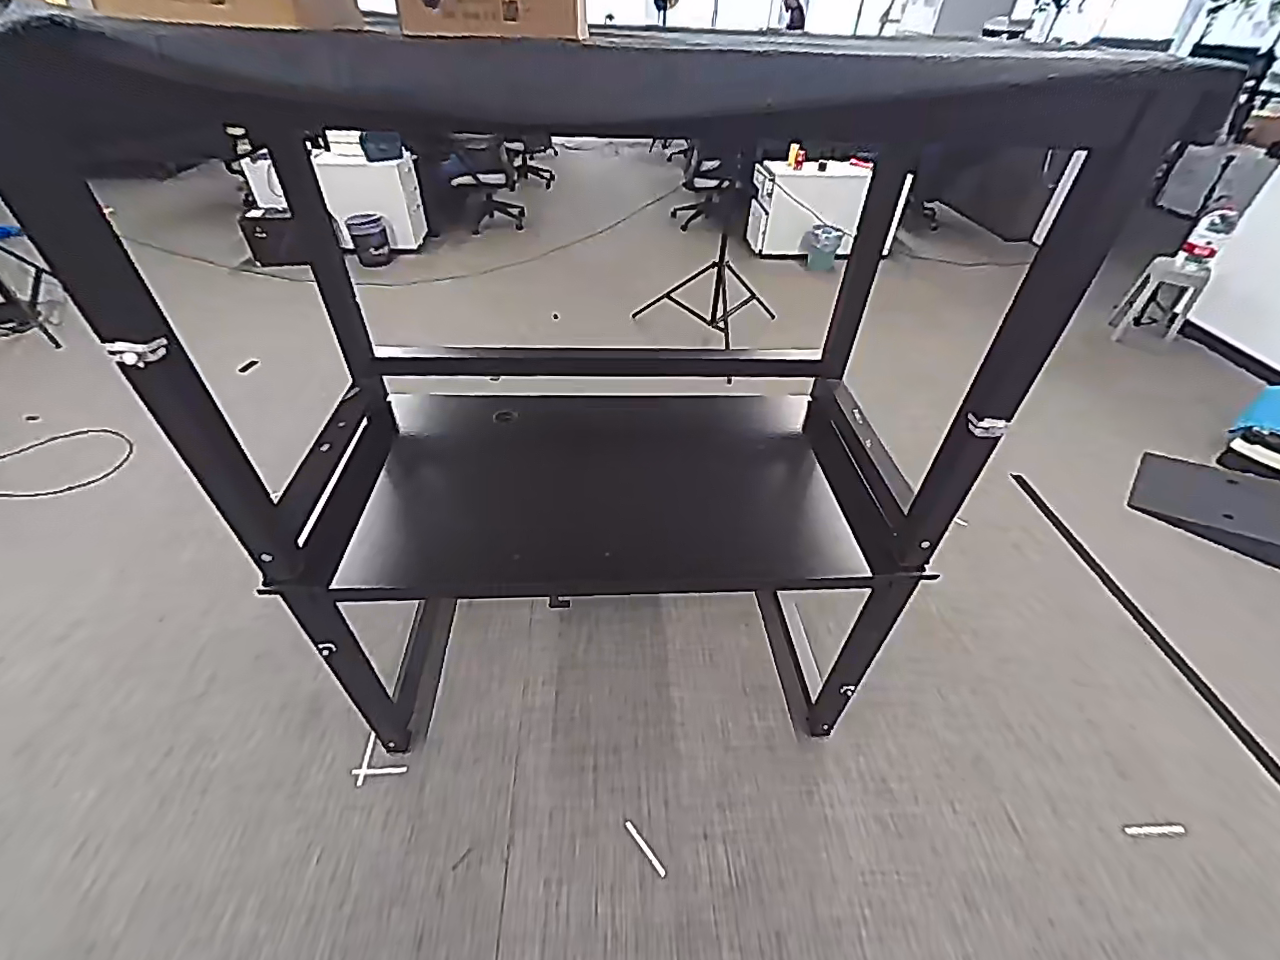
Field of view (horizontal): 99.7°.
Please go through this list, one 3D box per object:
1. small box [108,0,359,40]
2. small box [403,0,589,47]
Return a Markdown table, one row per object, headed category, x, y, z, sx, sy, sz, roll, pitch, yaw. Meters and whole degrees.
| category | x | y | z | sx | sy | sz | roll | pitch | yaw |
| --- | --- | --- | --- | --- | --- | --- | --- | --- | --- |
| small box | -0.376 | -0.502 | 0.479 | 0.168 | 0.176 | 0.179 | 0 | 39 | -5 |
| small box | -0.136 | -0.523 | 0.515 | 0.168 | 0.176 | 0.179 | 0 | 39 | -2 |
